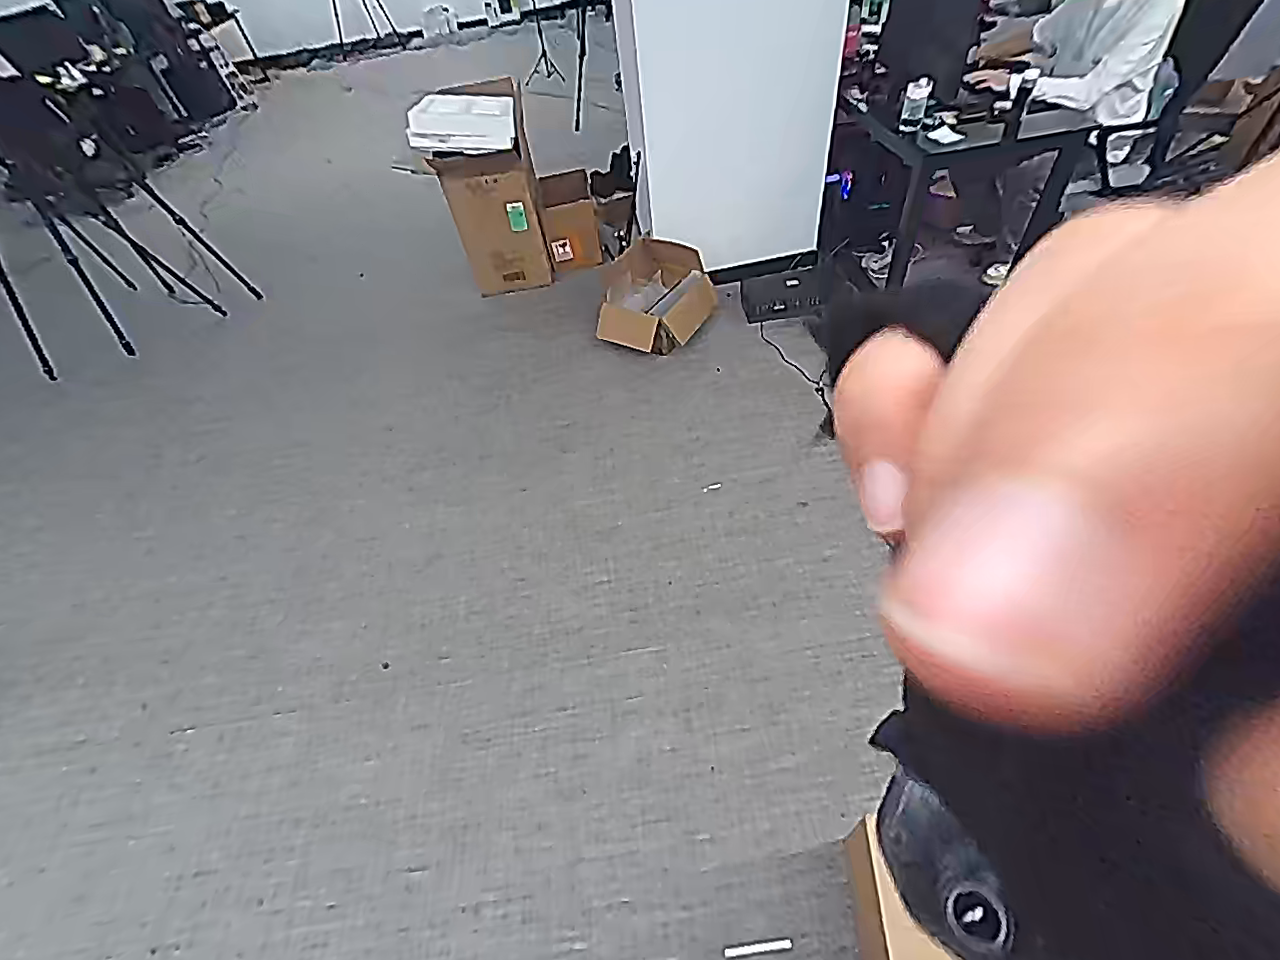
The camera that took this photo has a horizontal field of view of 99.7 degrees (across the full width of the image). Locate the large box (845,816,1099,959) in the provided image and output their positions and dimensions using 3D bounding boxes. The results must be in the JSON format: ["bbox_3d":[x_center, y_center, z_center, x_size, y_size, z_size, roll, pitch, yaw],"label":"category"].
[{"bbox_3d":[0.583,0.858,0.967,0.320,0.320,0.408,-3,50,9],"label":"large box"}]
